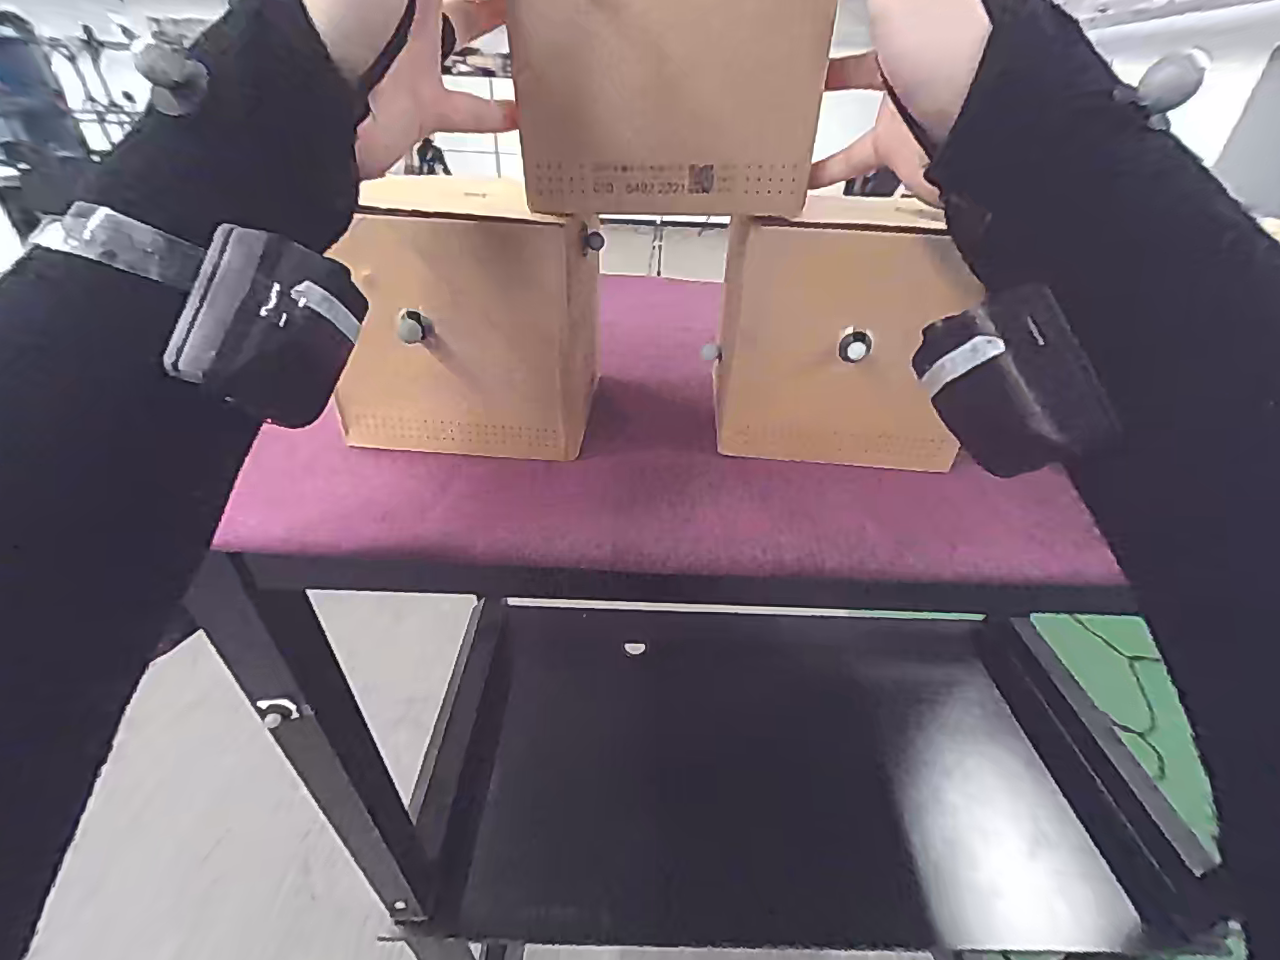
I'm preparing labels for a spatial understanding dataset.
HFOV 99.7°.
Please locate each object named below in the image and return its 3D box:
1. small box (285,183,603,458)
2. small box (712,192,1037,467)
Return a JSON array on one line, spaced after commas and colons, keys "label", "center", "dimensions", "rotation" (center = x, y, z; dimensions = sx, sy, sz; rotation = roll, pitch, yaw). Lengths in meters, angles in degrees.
[{"label": "small box", "center": [-0.125, -0.130, 0.429], "dimensions": [0.179, 0.176, 0.168], "rotation": [4, 35, 1]}, {"label": "small box", "center": [0.156, -0.123, 0.435], "dimensions": [0.179, 0.176, 0.168], "rotation": [4, 33, 3]}]
